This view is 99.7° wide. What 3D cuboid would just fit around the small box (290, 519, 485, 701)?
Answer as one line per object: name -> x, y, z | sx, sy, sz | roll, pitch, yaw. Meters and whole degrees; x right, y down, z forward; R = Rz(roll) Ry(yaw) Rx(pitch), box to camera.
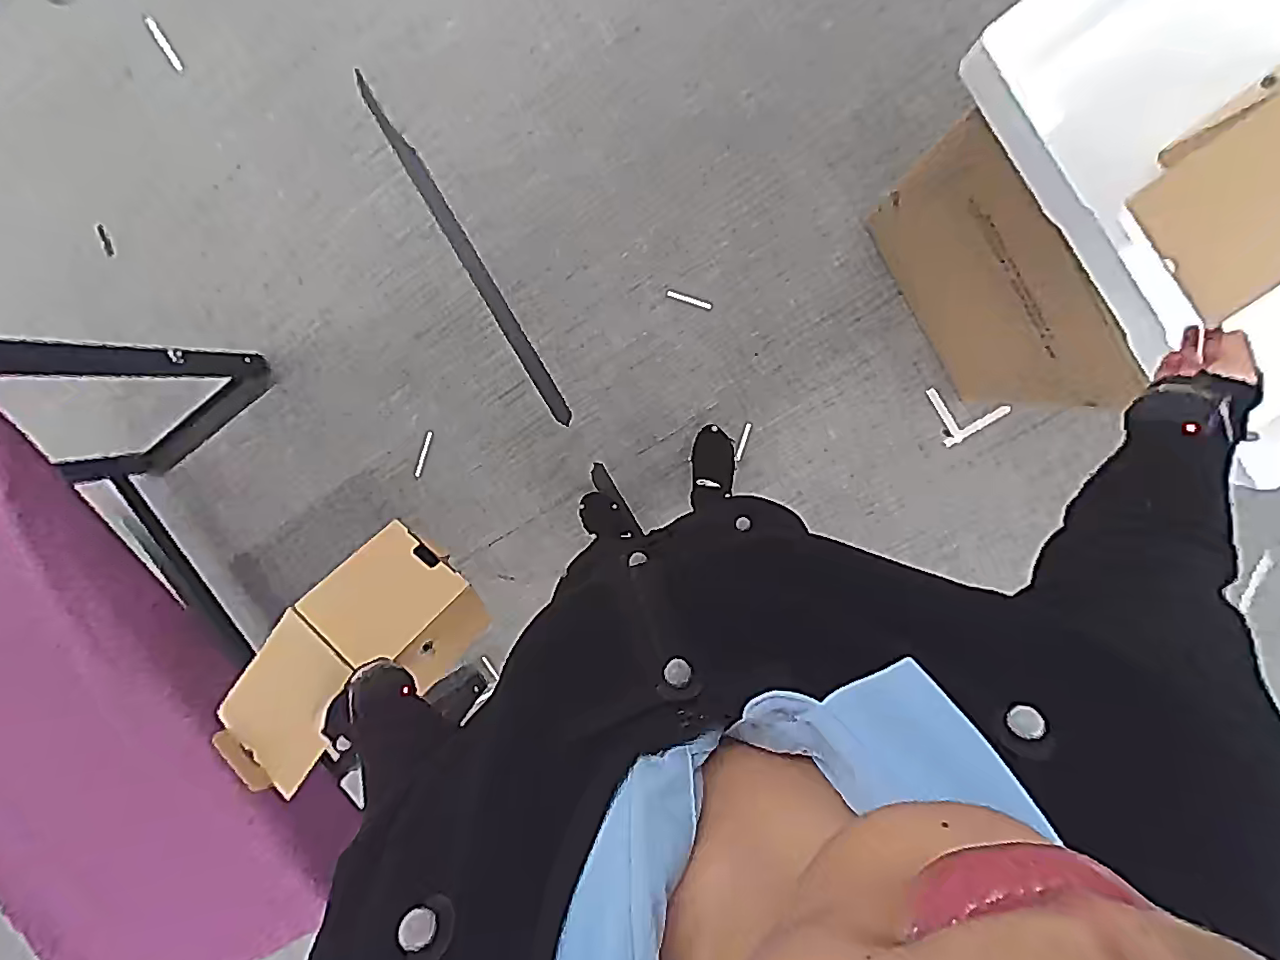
small box -> -0.355, 0.198, 0.798 | 0.168, 0.176, 0.179 | 35, 63, 17
